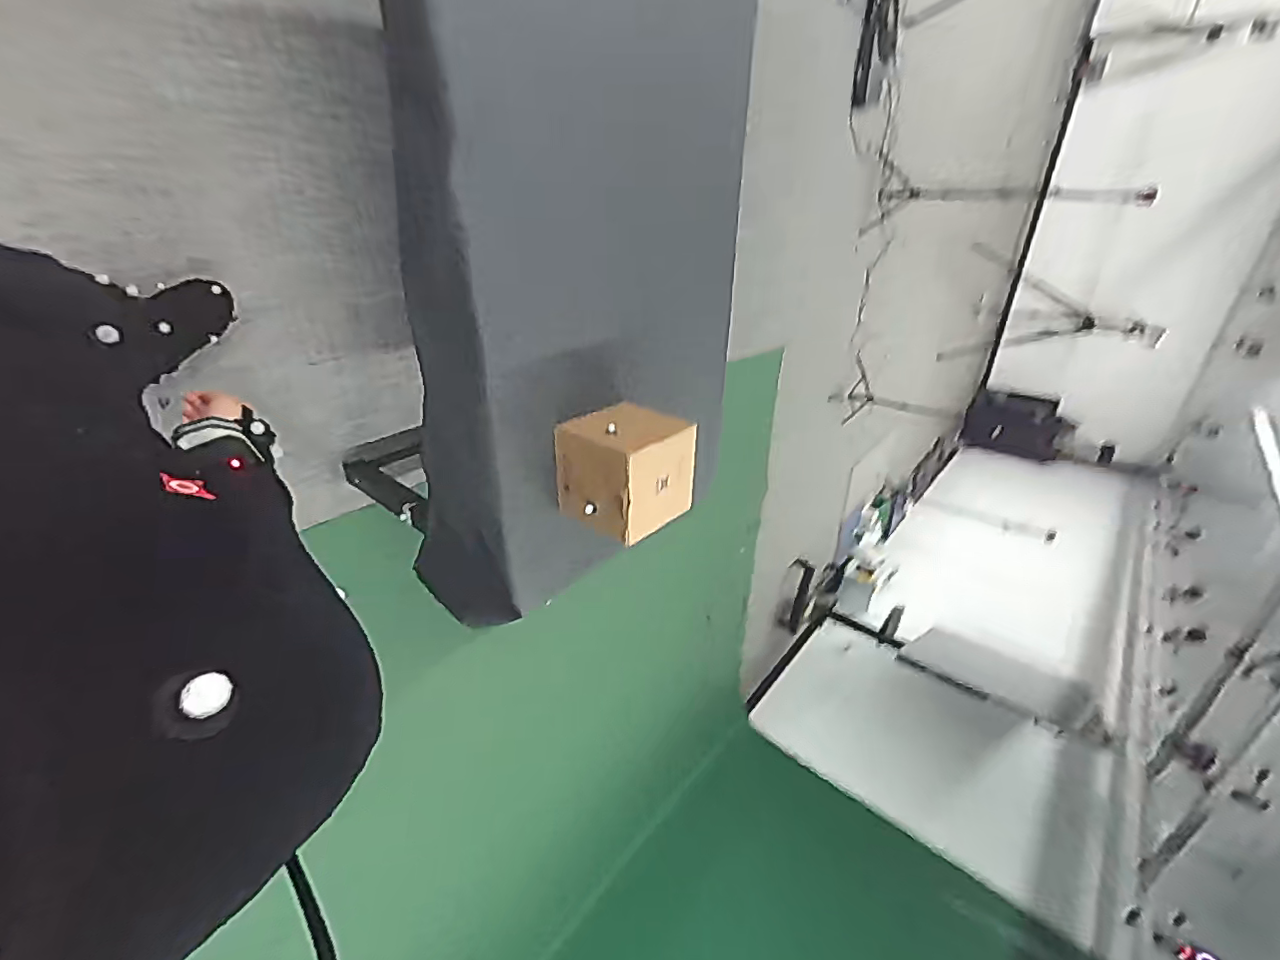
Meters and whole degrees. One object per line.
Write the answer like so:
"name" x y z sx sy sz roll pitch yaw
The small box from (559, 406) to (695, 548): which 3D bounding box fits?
"small box" -0.027 -0.014 0.932 0.179 0.176 0.168 -29 131 -44
